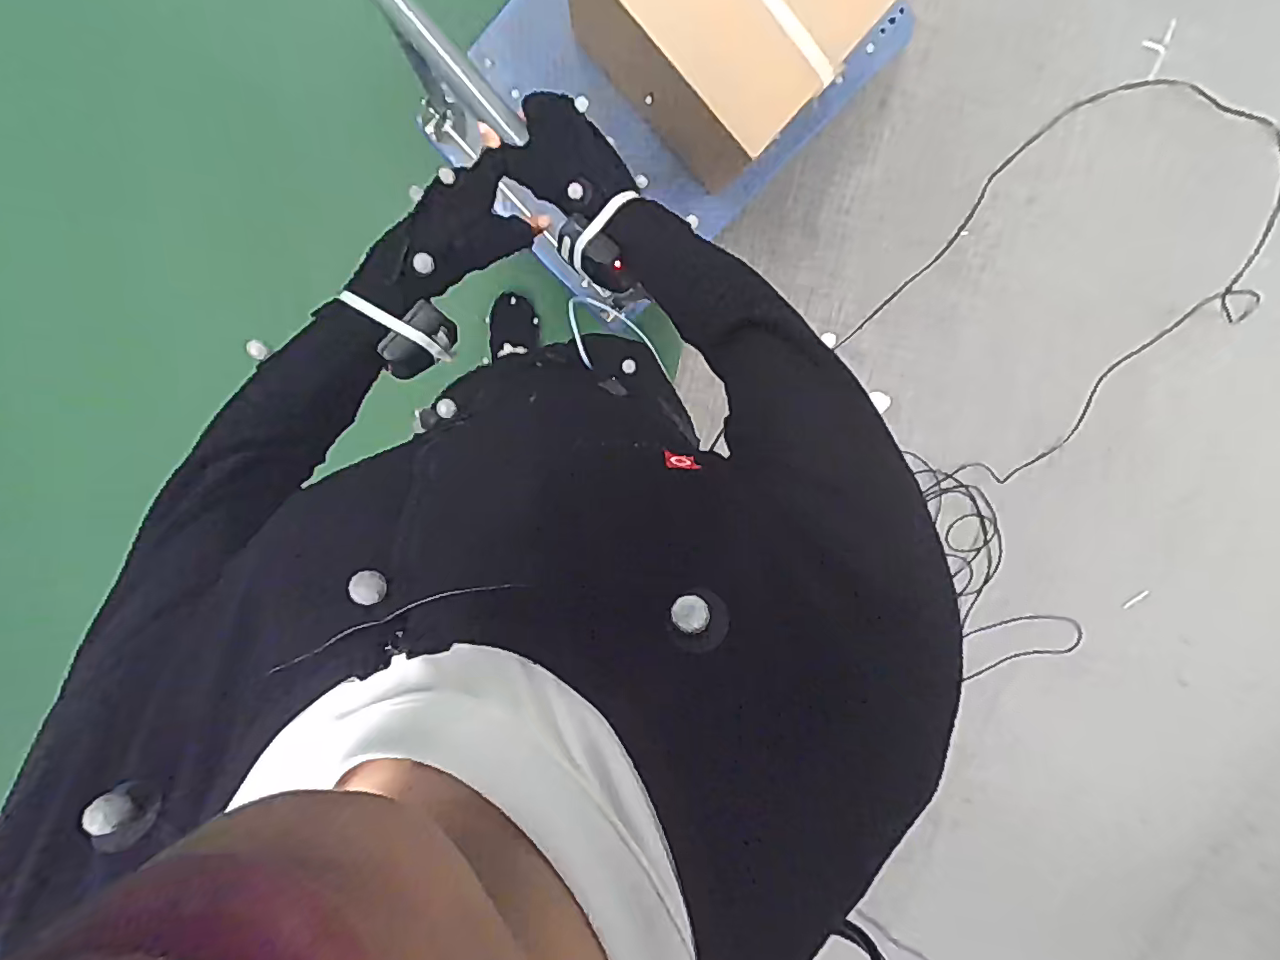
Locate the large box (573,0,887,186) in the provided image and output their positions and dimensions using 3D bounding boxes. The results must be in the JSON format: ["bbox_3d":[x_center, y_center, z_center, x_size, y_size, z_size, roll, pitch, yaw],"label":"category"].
[{"bbox_3d":[0.131,-0.798,0.922,0.408,0.320,0.320,42,100,-15],"label":"large box"}]
